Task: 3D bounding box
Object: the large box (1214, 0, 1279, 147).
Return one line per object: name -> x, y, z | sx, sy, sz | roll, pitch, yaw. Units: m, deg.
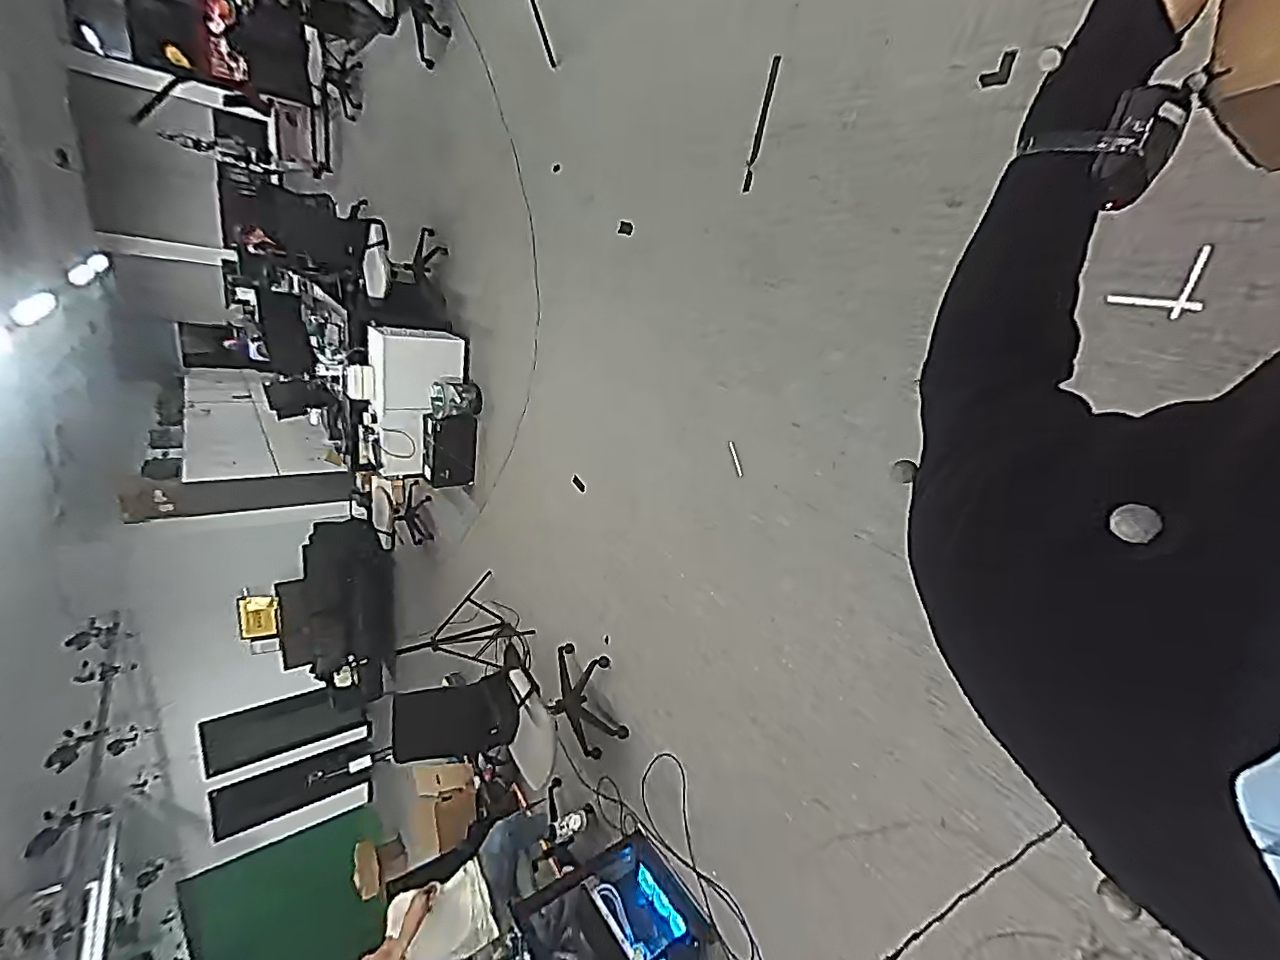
large box -> 0.618, -0.407, 0.256 | 0.408, 0.320, 0.320 | 16, 112, 53
